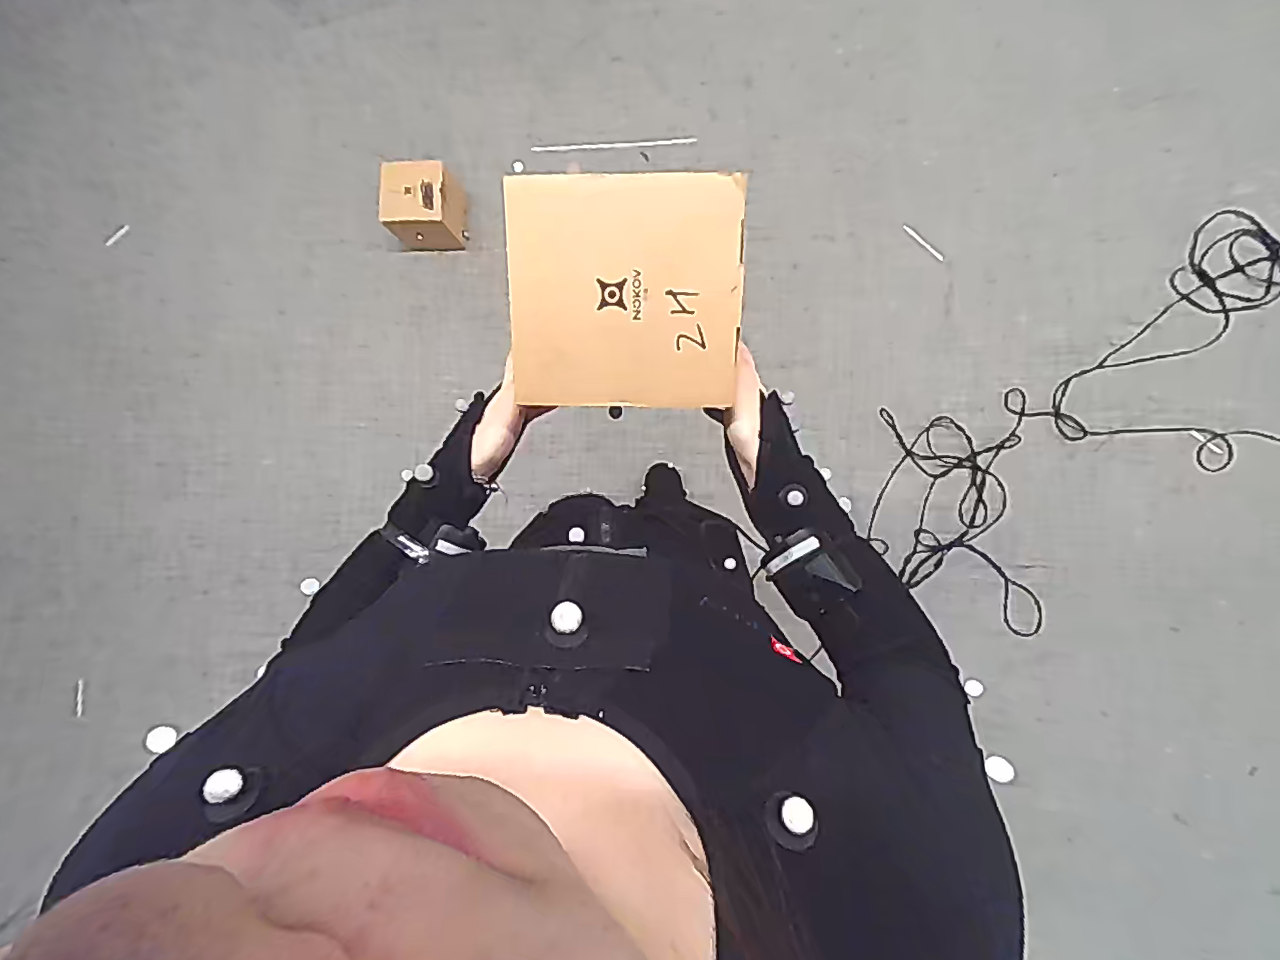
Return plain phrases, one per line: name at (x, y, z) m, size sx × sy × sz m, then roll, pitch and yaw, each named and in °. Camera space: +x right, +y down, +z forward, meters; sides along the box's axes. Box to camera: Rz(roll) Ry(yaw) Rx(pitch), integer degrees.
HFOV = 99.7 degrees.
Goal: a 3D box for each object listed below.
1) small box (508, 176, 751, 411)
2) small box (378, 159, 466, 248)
small box at (-0.005, -0.156, 0.479) m, size 0.179 × 0.176 × 0.168 m, roll 1°, pitch 106°, yaw 2°
small box at (-0.598, -0.763, 1.502) m, size 0.179 × 0.176 × 0.168 m, roll 2°, pitch 89°, yaw 6°
